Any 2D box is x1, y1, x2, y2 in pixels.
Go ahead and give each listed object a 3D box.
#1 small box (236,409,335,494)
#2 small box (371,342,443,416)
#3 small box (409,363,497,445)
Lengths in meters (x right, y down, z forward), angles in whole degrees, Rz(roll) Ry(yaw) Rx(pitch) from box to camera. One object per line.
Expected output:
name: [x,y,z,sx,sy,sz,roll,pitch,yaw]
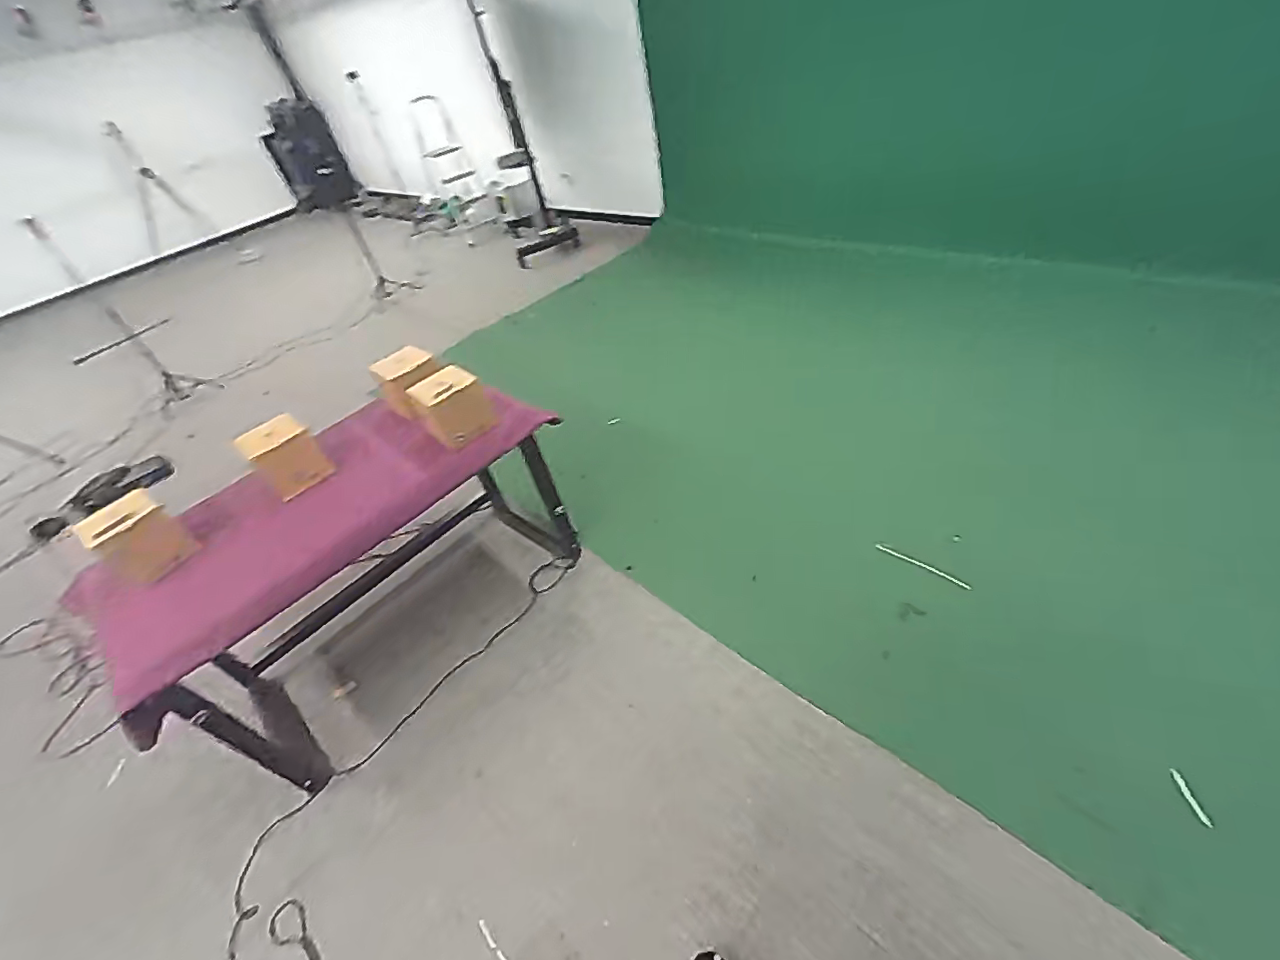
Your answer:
small box: [-1.069,-0.084,1.639,0.179,0.176,0.168,28,55,36]
small box: [-0.770,-0.340,1.836,0.179,0.176,0.168,29,57,37]
small box: [-0.567,-0.230,1.658,0.168,0.176,0.179,-38,45,-24]
